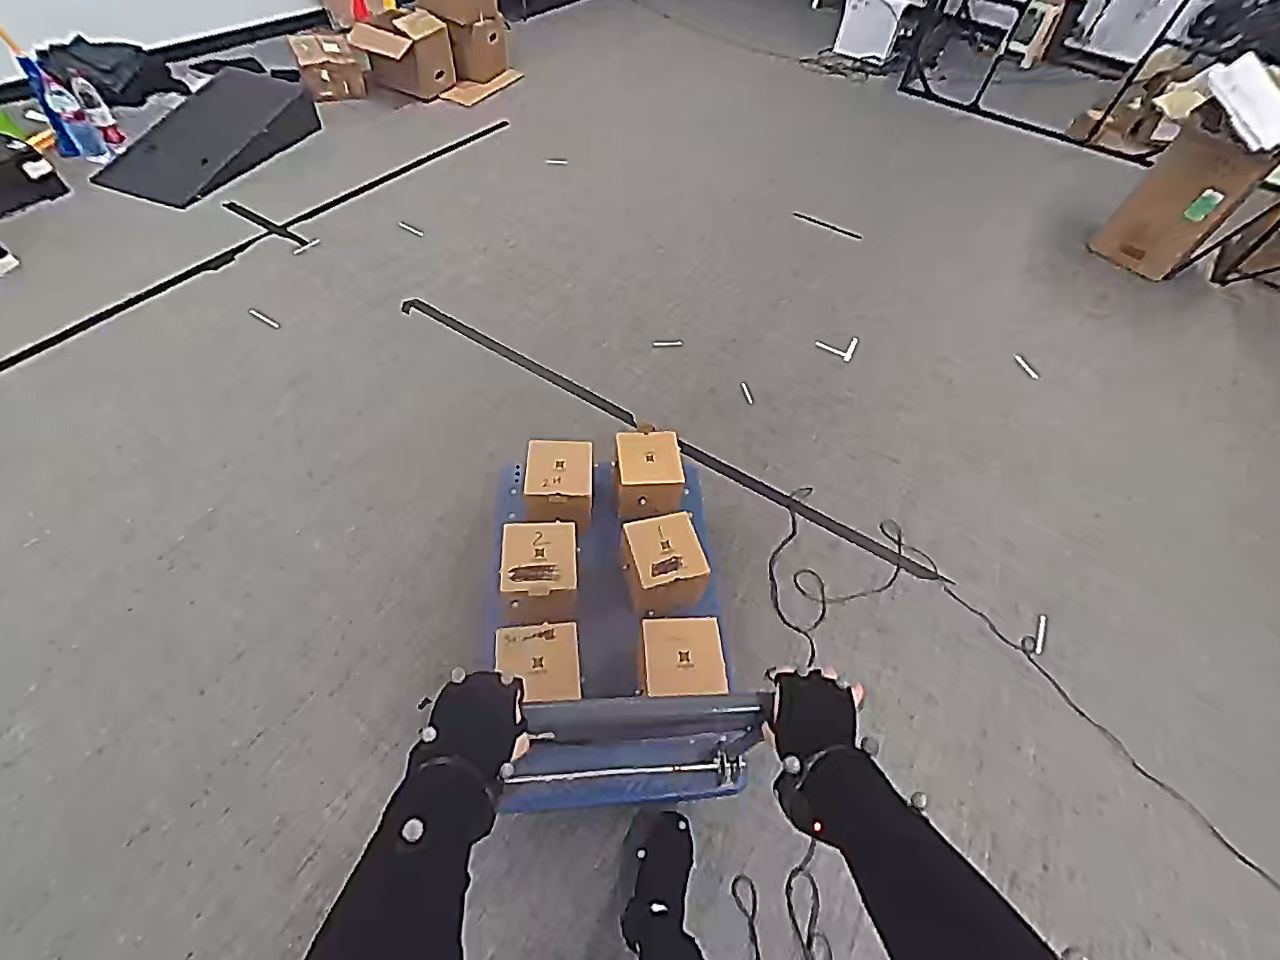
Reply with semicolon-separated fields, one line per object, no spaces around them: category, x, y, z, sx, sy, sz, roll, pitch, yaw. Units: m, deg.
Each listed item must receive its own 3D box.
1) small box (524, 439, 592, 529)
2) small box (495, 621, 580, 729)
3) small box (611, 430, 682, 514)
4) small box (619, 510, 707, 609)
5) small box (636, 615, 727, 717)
small box;-0.216;0.013;1.436;0.168;0.176;0.179;1;55;-7
small box;-0.212;0.416;1.141;0.168;0.176;0.179;-2;54;-10
small box;0.011;-0.016;1.490;0.168;0.176;0.179;-3;54;-9
small box;0.049;0.203;1.333;0.168;0.176;0.179;-10;55;-15
small box;0.083;0.412;1.185;0.168;0.176;0.179;1;53;-8
